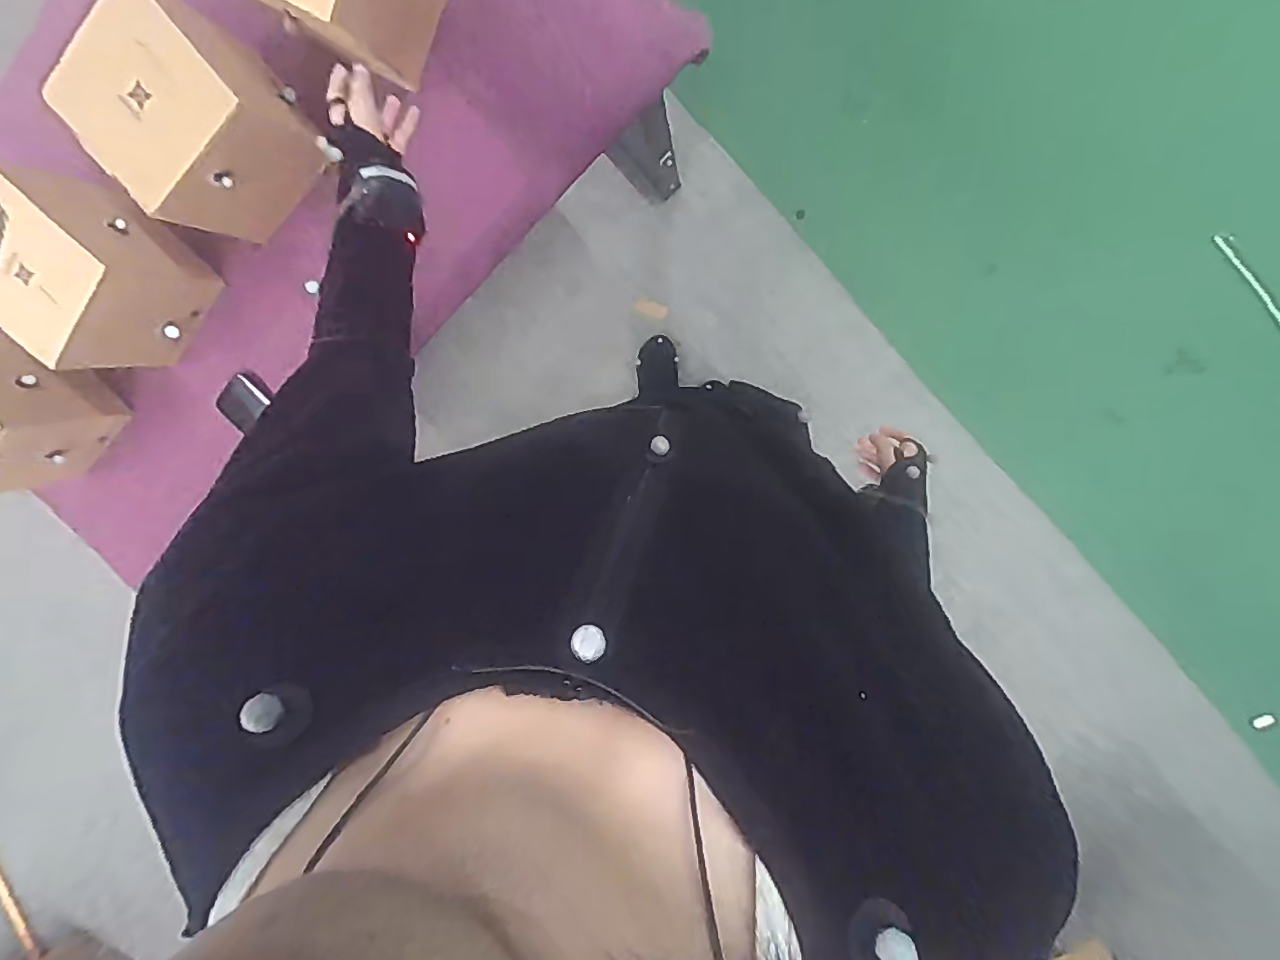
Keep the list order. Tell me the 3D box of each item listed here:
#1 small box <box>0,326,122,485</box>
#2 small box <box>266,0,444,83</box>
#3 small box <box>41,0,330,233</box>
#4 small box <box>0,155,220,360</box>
[{"bbox_3d":[-0.923,-0.107,0.779,0.168,0.176,0.179,-39,97,14],"label":"small box"},{"bbox_3d":[-0.329,-0.587,0.589,0.168,0.176,0.179,28,105,0],"label":"small box"},{"bbox_3d":[-0.526,-0.432,0.652,0.179,0.176,0.168,-37,98,13],"label":"small box"},{"bbox_3d":[-0.725,-0.276,0.713,0.179,0.176,0.168,44,105,-6],"label":"small box"}]
